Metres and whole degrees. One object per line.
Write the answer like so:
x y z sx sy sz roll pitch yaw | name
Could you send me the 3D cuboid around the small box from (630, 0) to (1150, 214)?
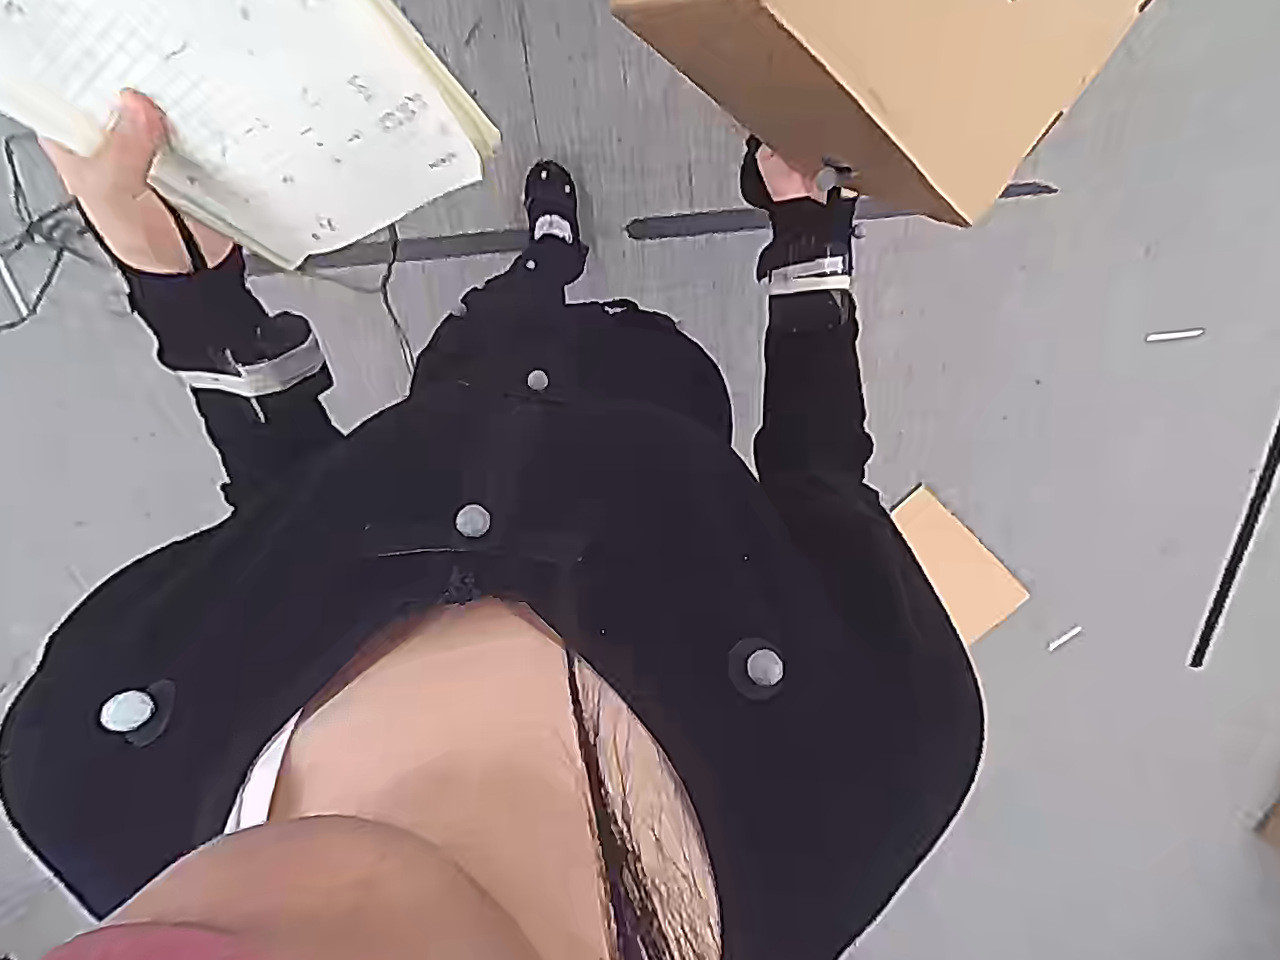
0.121 -0.266 0.258 0.179 0.176 0.168 16 118 -34 | small box
